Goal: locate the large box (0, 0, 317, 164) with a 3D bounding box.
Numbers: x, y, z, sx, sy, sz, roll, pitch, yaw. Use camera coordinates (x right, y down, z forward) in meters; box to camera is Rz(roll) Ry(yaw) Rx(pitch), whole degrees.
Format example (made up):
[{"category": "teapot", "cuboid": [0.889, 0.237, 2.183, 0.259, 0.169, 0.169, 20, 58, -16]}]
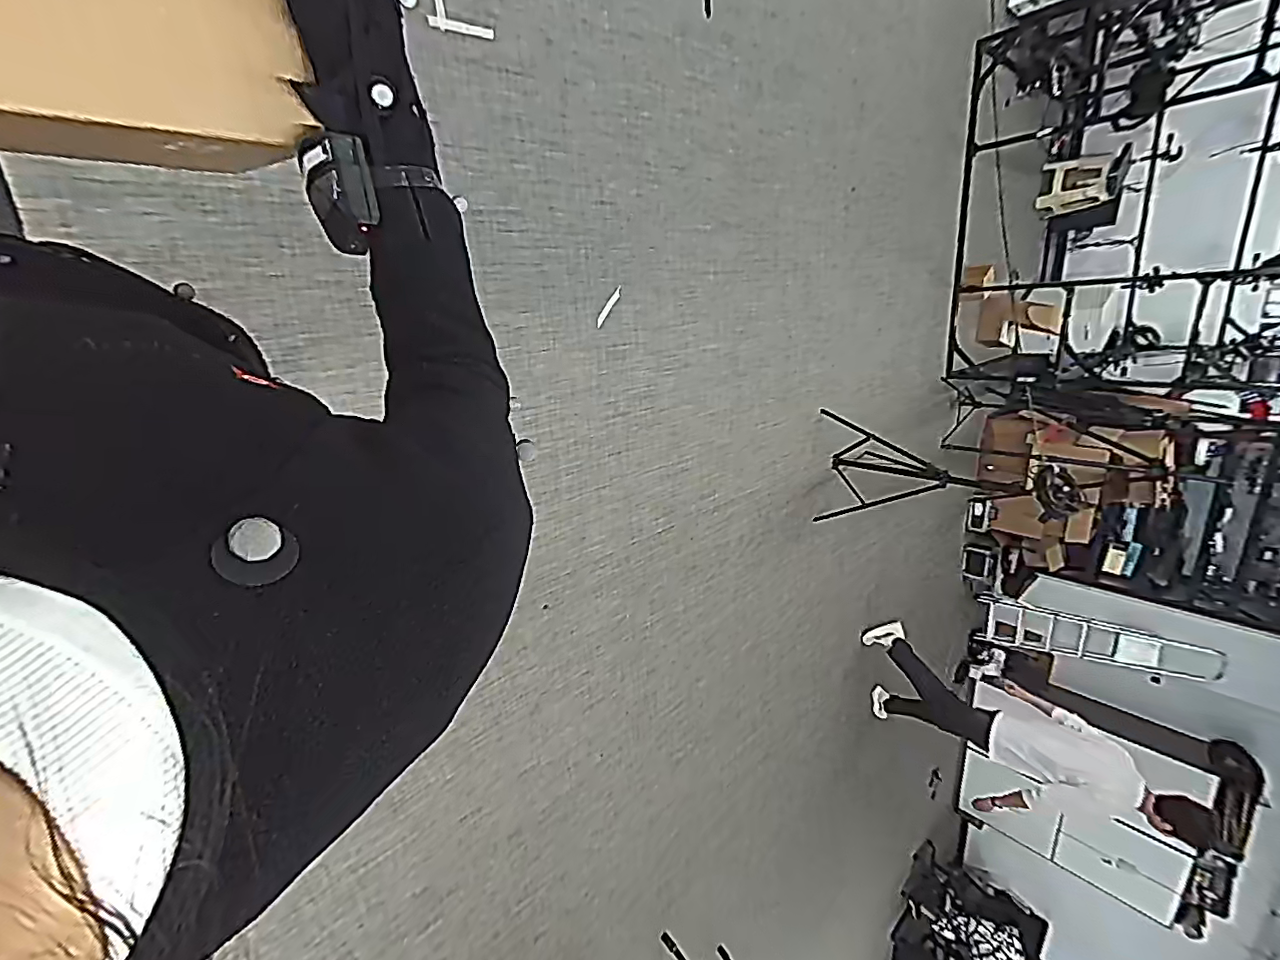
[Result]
[{"category": "large box", "cuboid": [-0.473, -0.379, 0.300, 0.408, 0.320, 0.320, -19, 123, -39]}]
